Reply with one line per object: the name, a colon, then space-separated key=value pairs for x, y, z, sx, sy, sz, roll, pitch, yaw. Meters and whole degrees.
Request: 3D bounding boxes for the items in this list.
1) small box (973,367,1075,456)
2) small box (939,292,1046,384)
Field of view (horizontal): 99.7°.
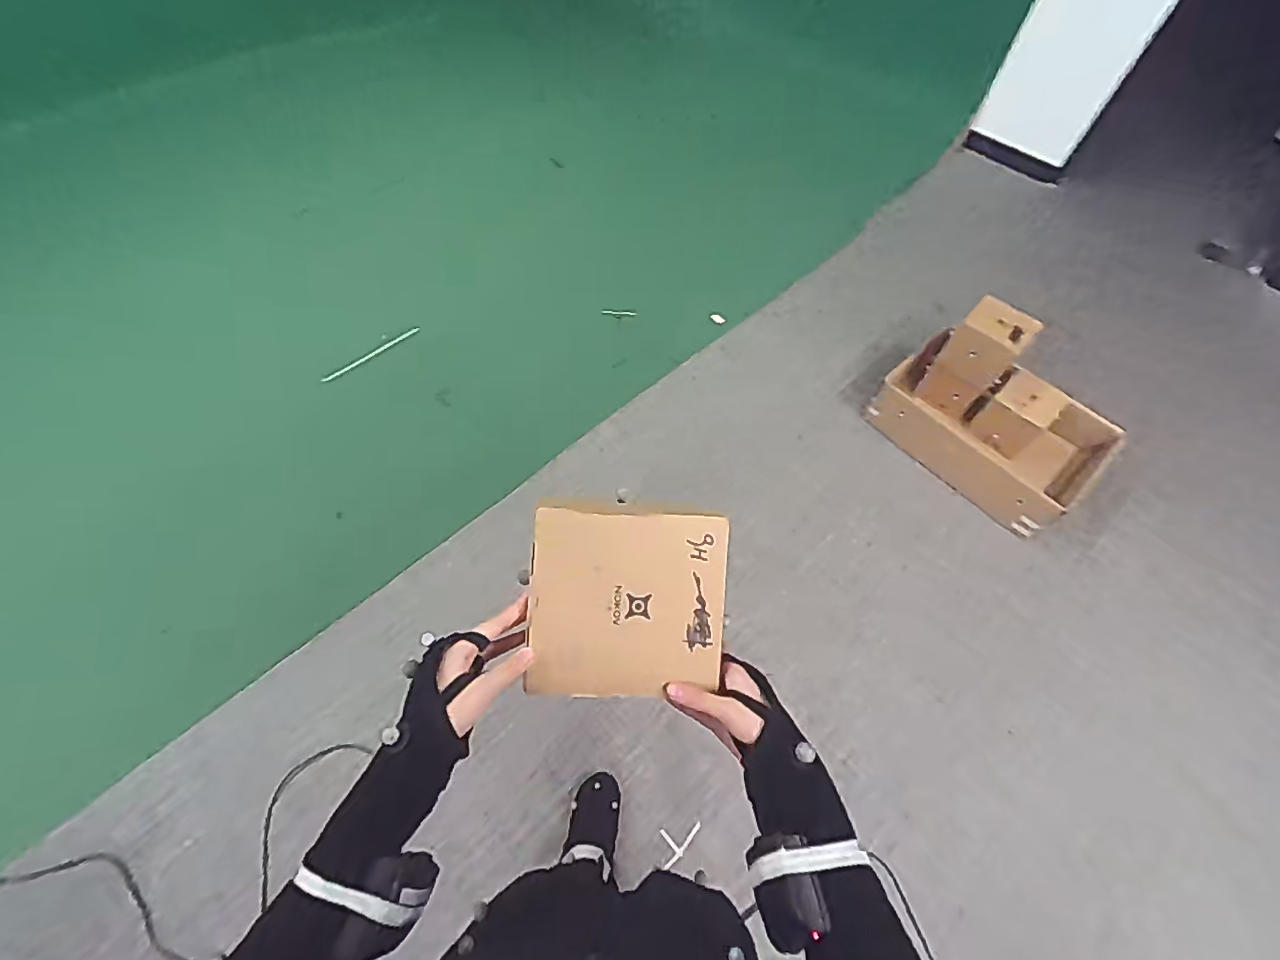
small box: x=1.186 y=-0.211 z=1.684 sx=0.179 sy=0.176 sz=0.168 roll=-38 pitch=66 yaw=-19
small box: x=1.042 y=-0.414 z=1.611 sx=0.179 sy=0.176 sz=0.168 roll=40 pitch=68 yaw=20
